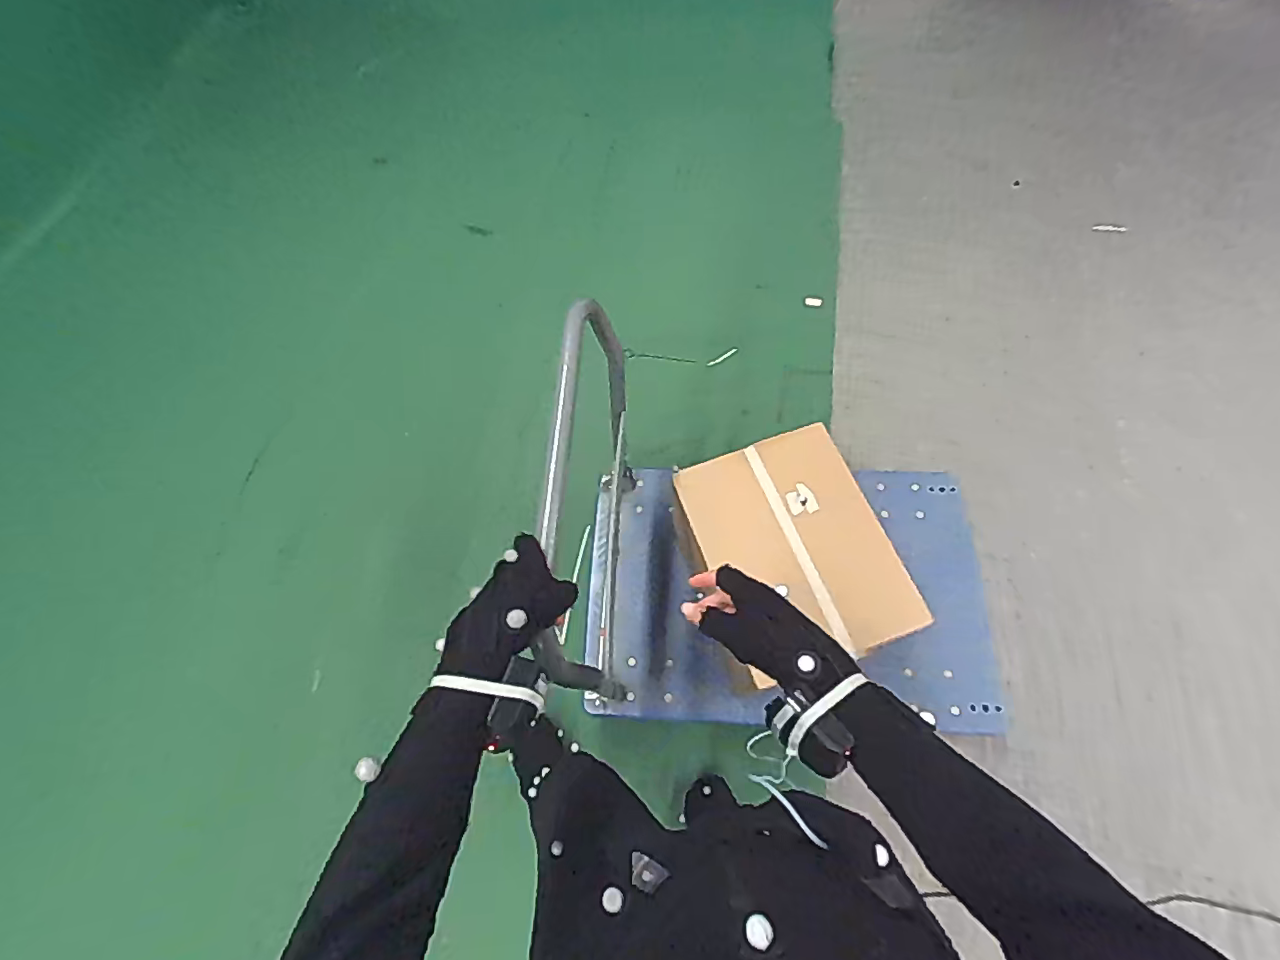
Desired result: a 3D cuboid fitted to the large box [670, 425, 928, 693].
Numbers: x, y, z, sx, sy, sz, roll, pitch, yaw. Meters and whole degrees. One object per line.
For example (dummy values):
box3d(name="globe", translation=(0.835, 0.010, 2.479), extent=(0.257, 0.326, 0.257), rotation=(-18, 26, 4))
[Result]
box3d(name="large box", translation=(0.280, 0.171, 1.092), extent=(0.320, 0.320, 0.408), rotation=(-19, 65, -4))
